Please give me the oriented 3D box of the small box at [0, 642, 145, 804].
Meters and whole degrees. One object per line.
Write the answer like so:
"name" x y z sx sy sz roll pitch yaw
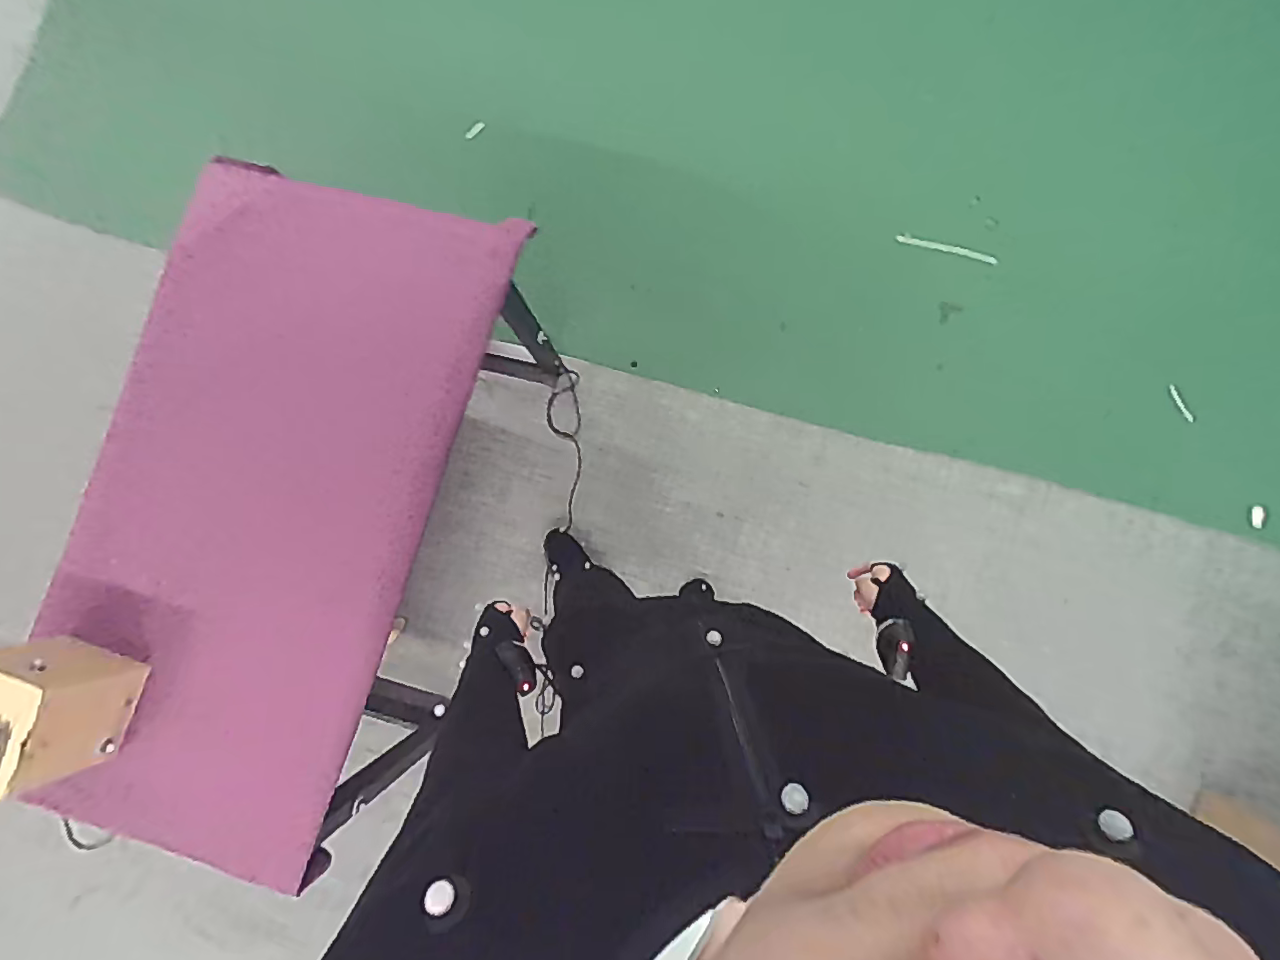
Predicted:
"small box" -0.967 0.375 0.868 0.179 0.176 0.168 16 85 3
